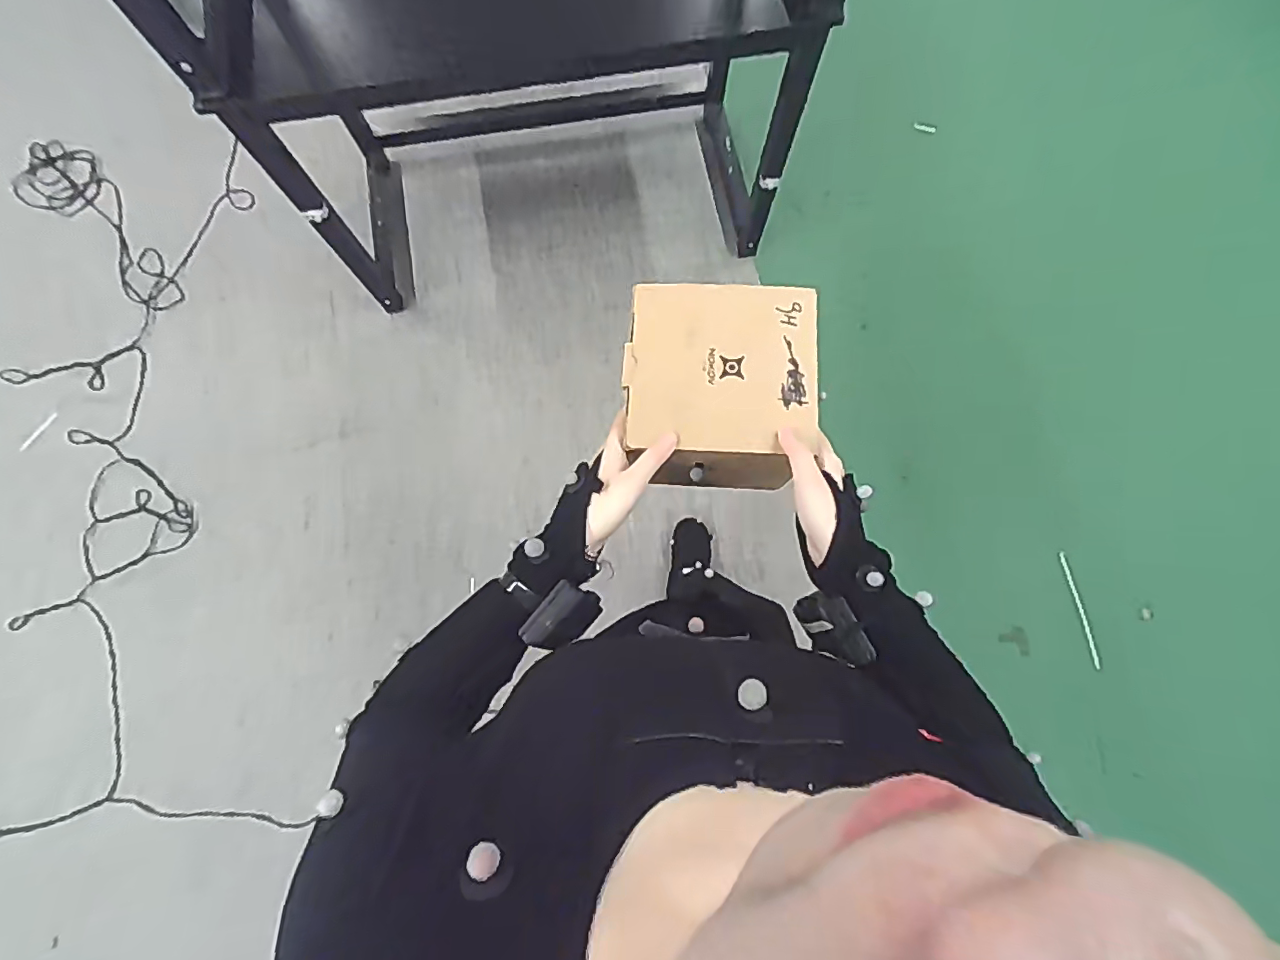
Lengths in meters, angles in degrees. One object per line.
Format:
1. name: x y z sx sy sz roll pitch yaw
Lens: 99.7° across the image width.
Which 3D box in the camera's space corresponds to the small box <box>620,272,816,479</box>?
1. small box: 0.078 -0.099 0.575 0.179 0.176 0.168 3 79 3
